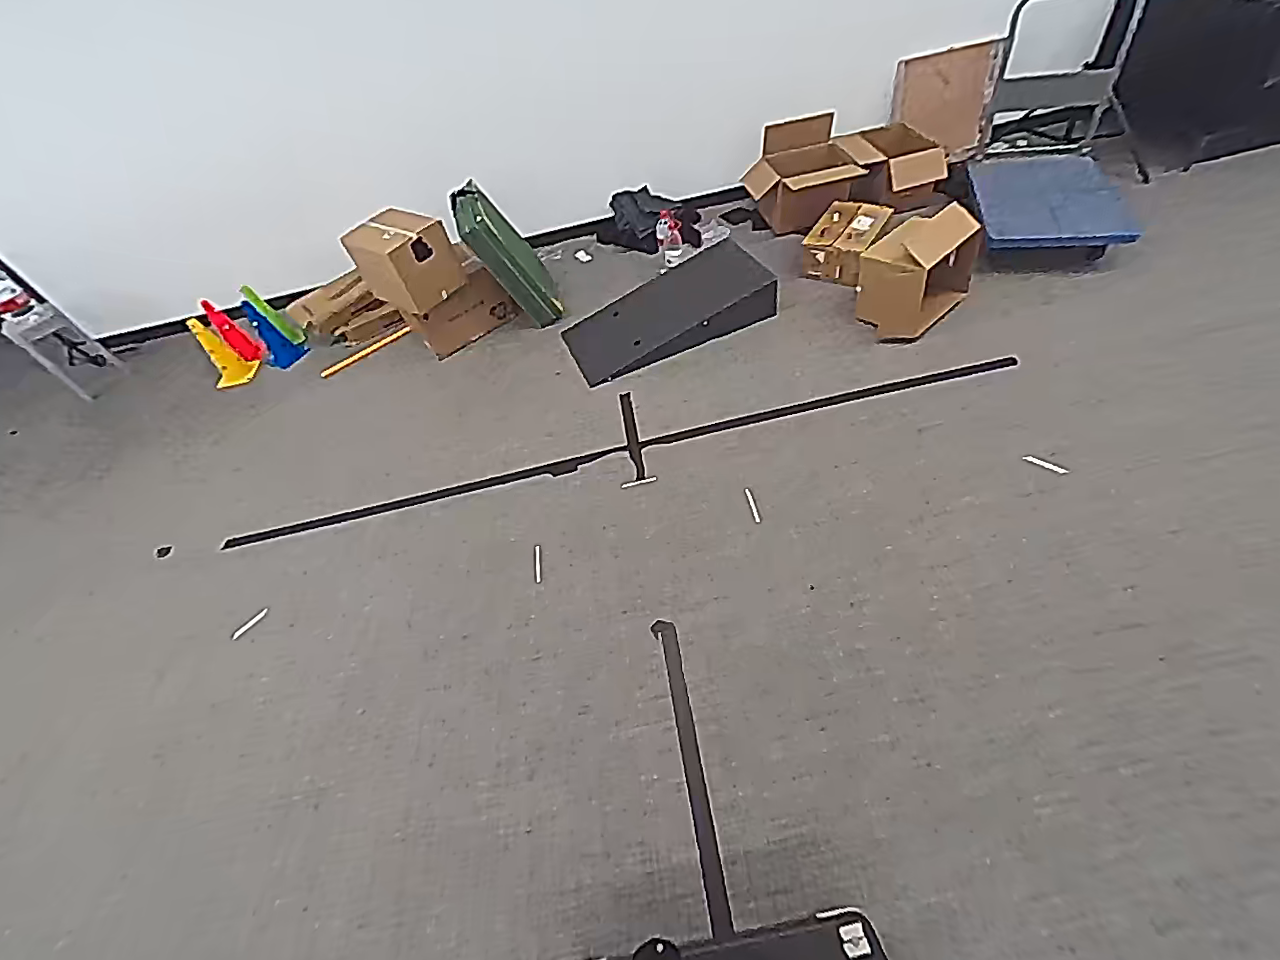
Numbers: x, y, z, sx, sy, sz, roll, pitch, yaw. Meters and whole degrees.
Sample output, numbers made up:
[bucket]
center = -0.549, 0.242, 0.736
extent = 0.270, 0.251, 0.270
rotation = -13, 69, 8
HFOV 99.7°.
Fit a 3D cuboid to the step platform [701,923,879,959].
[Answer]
[step platform]
center = 0.171, 1.111, 1.053
extent = 0.684, 0.204, 0.286
rotation = -13, 51, 0
